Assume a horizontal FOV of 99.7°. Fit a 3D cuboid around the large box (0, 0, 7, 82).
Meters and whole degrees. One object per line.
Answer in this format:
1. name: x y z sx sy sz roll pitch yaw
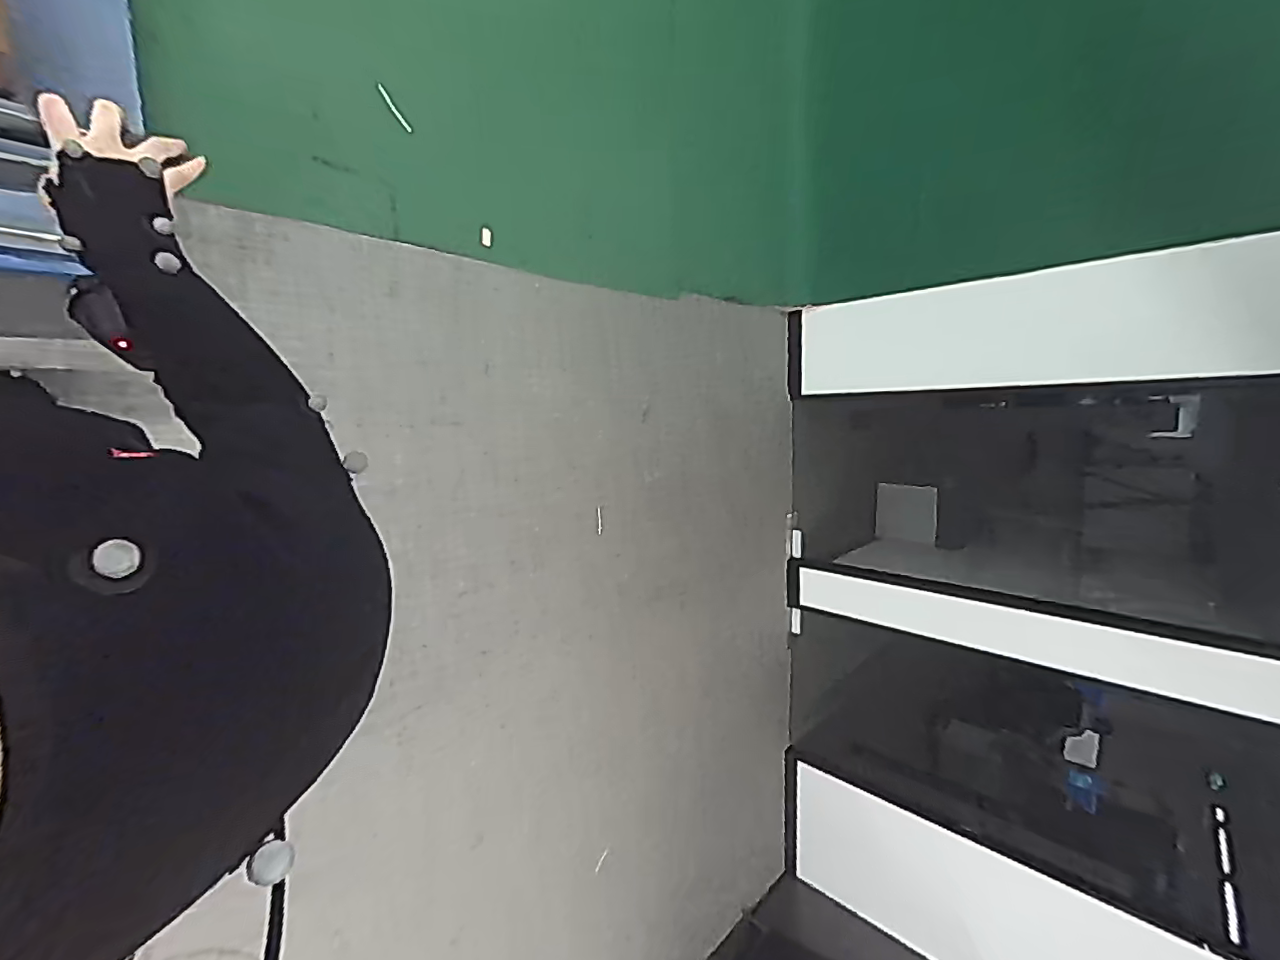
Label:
1. large box: -1.047 -0.761 0.611 0.408 0.320 0.320 -6 98 -47
